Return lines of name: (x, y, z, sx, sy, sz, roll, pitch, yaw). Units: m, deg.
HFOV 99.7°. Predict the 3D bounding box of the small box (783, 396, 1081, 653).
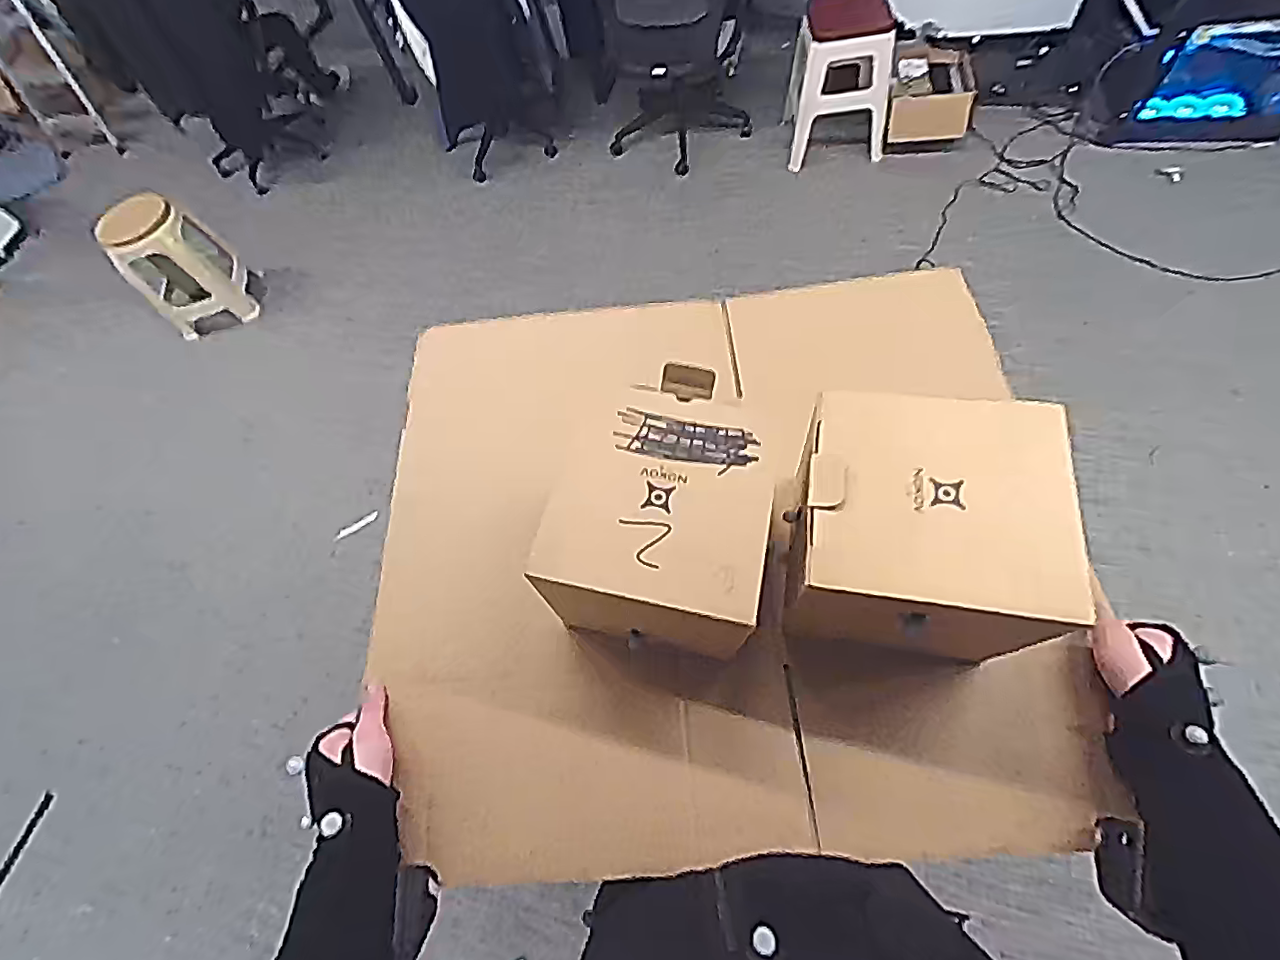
small box: (0.226, 0.047, 0.466, 0.179, 0.176, 0.168, 6, 67, 12)
